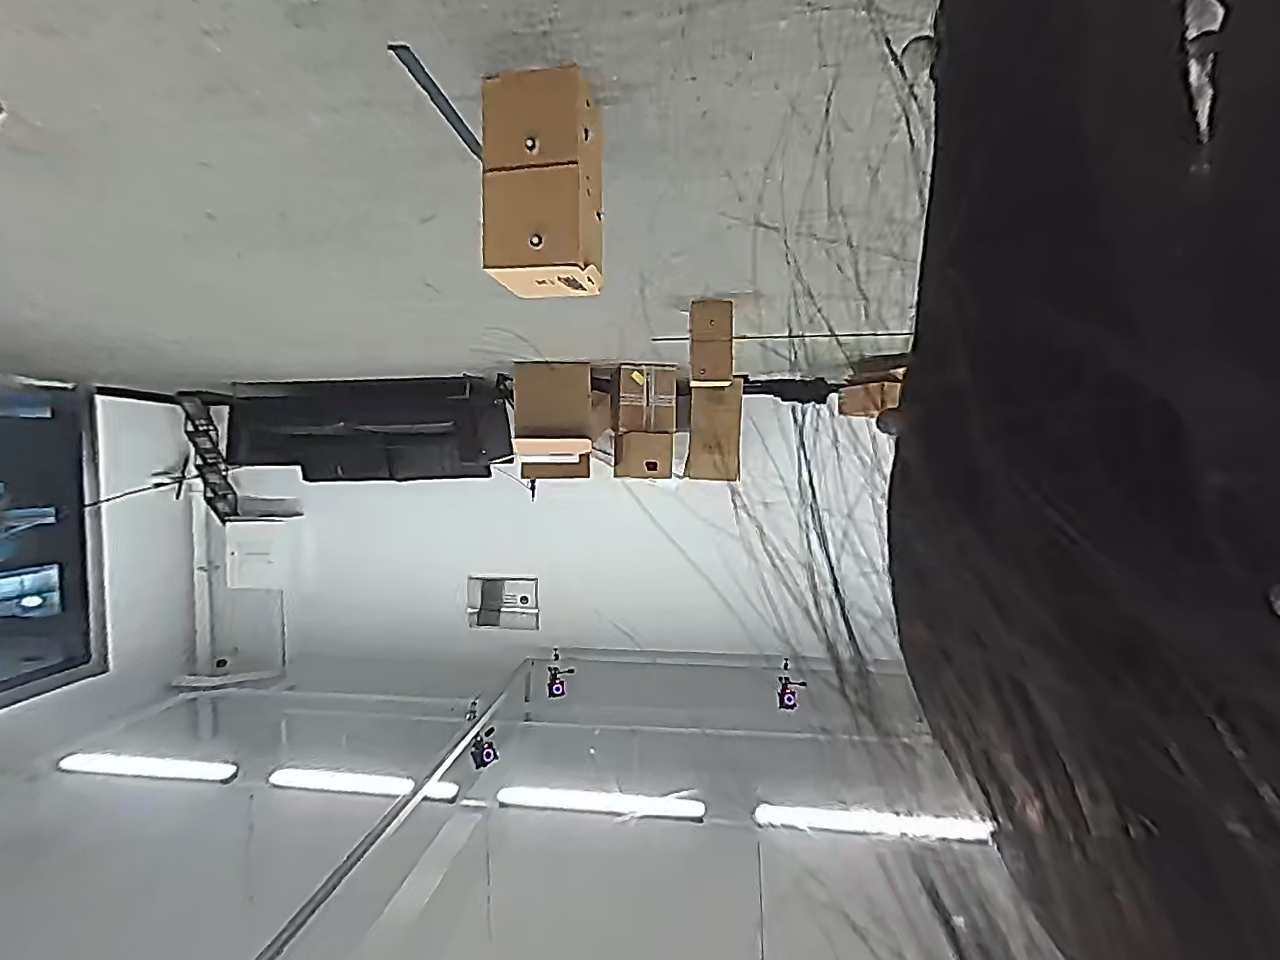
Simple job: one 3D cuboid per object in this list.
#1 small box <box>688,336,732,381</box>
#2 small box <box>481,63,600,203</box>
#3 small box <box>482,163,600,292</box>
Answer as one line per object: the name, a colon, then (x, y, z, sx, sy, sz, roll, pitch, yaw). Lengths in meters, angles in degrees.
small box: (0.297, -0.522, 2.330, 0.179, 0.176, 0.168, -1, -176, 3)
small box: (-0.178, -0.622, 0.990, 0.179, 0.176, 0.168, 1, -178, 11)
small box: (-0.177, -0.457, 0.992, 0.179, 0.176, 0.168, 1, -177, 10)
